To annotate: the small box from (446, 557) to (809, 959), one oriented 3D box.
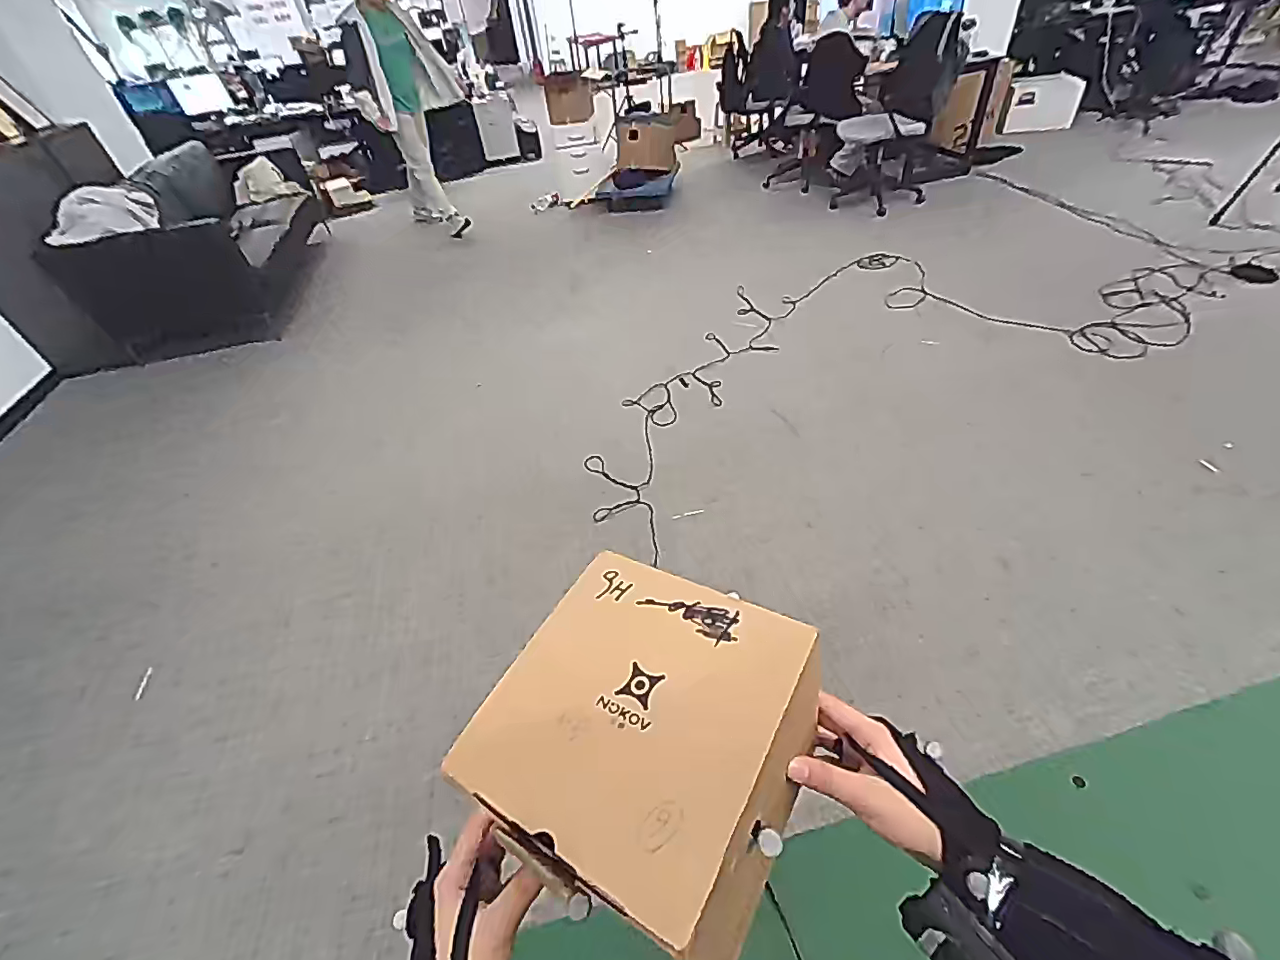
[{"bbox_3d":[0.012,0.190,0.375,0.168,0.176,0.179,15,51,31],"label":"small box"}]
